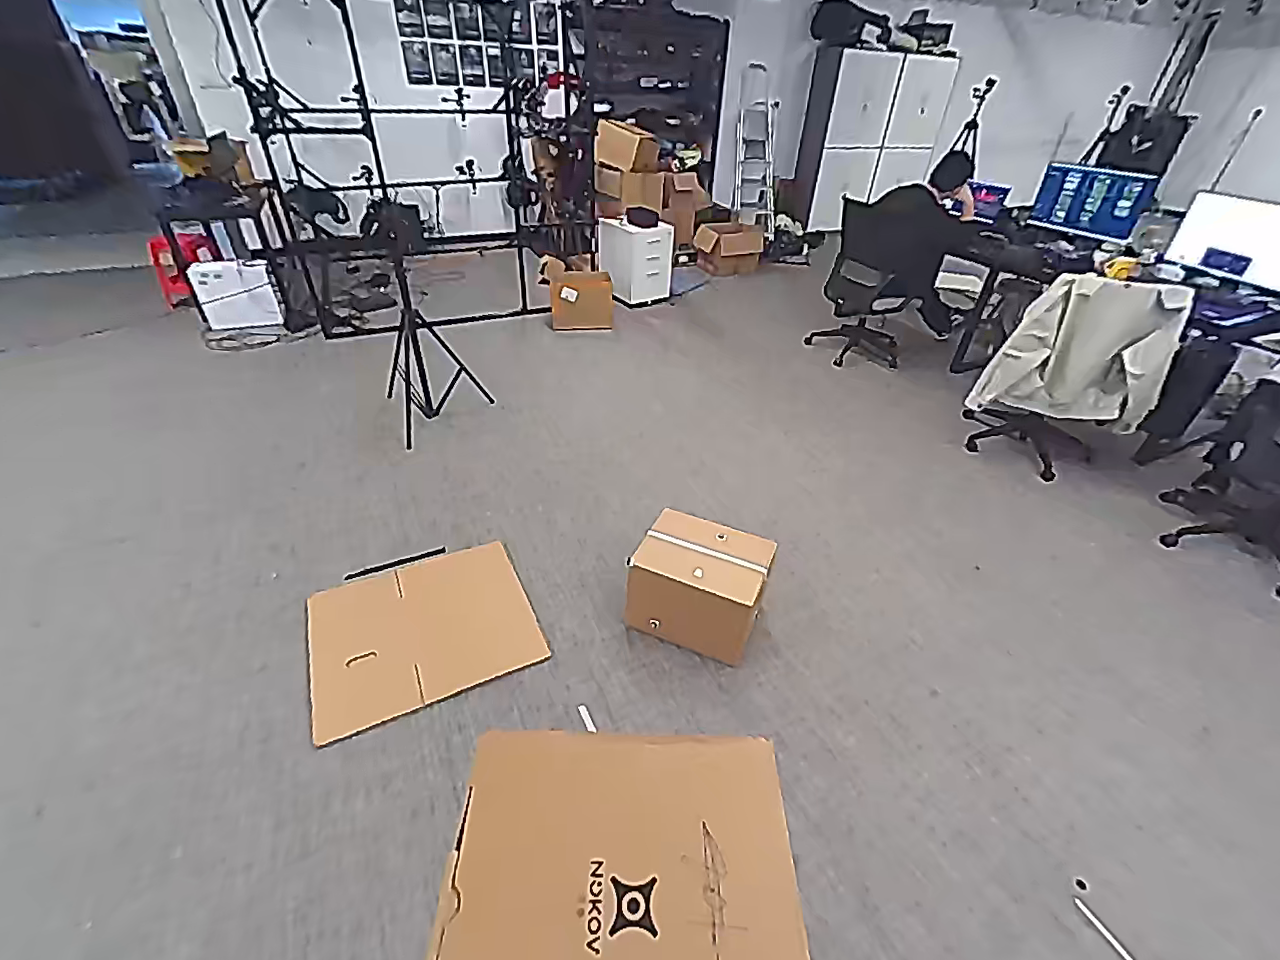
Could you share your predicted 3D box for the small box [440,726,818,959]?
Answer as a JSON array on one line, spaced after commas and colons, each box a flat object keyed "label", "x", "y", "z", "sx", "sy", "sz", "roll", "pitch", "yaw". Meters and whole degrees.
[{"label": "small box", "x": -0.009, "y": 0.263, "z": 0.317, "sx": 0.179, "sy": 0.176, "sz": 0.168, "roll": 3, "pitch": 44, "yaw": -3}]
